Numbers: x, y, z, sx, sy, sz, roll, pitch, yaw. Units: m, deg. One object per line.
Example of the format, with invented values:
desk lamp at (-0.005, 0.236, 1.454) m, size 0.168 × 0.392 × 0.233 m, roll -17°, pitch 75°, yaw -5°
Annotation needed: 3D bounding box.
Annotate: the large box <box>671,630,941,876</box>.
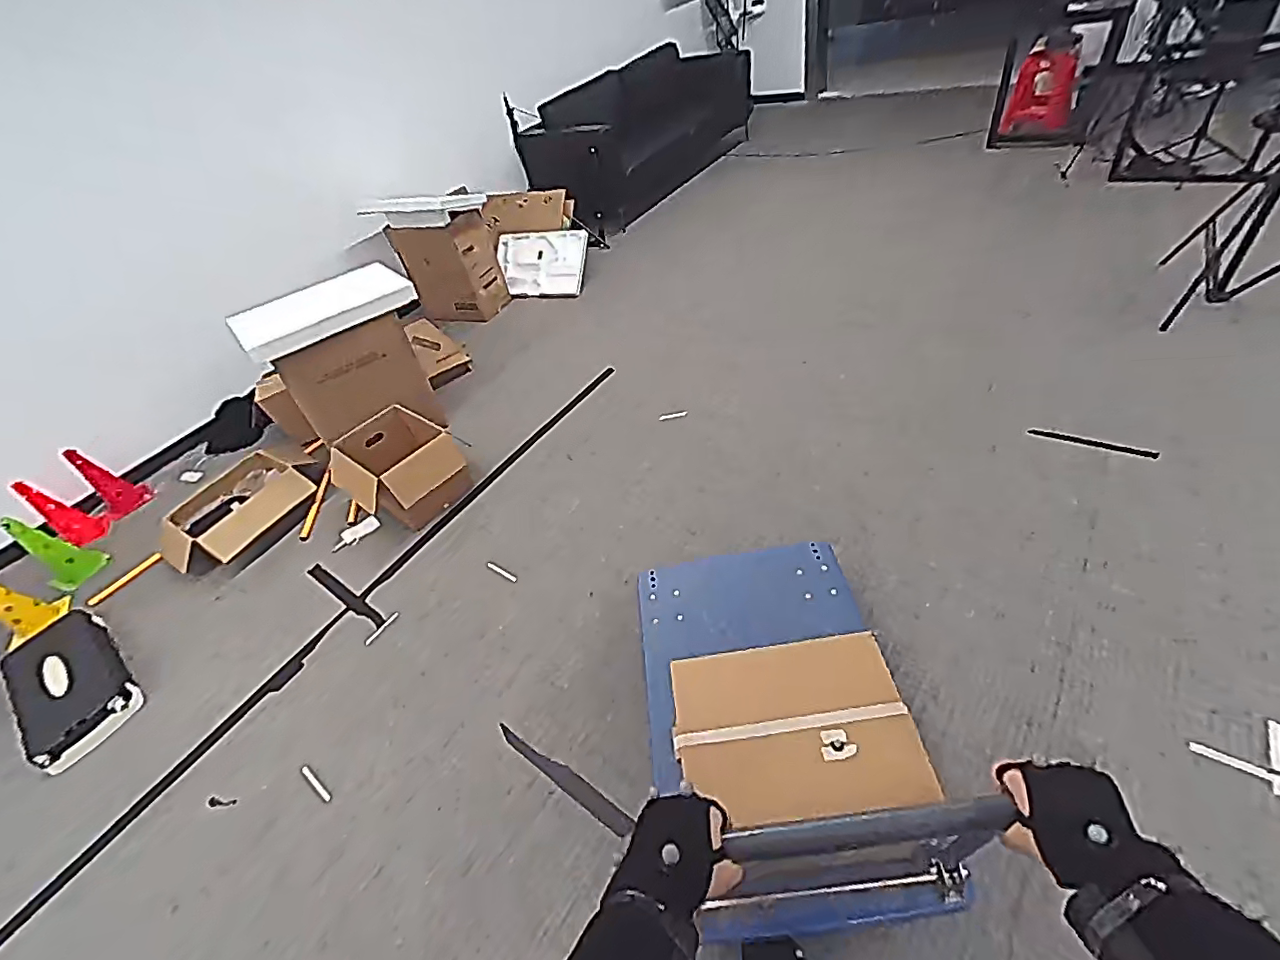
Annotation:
large box at (0.292, 0.542, 1.068) m, size 0.408 × 0.320 × 0.320 m, roll -10°, pitch 44°, yaw 3°
